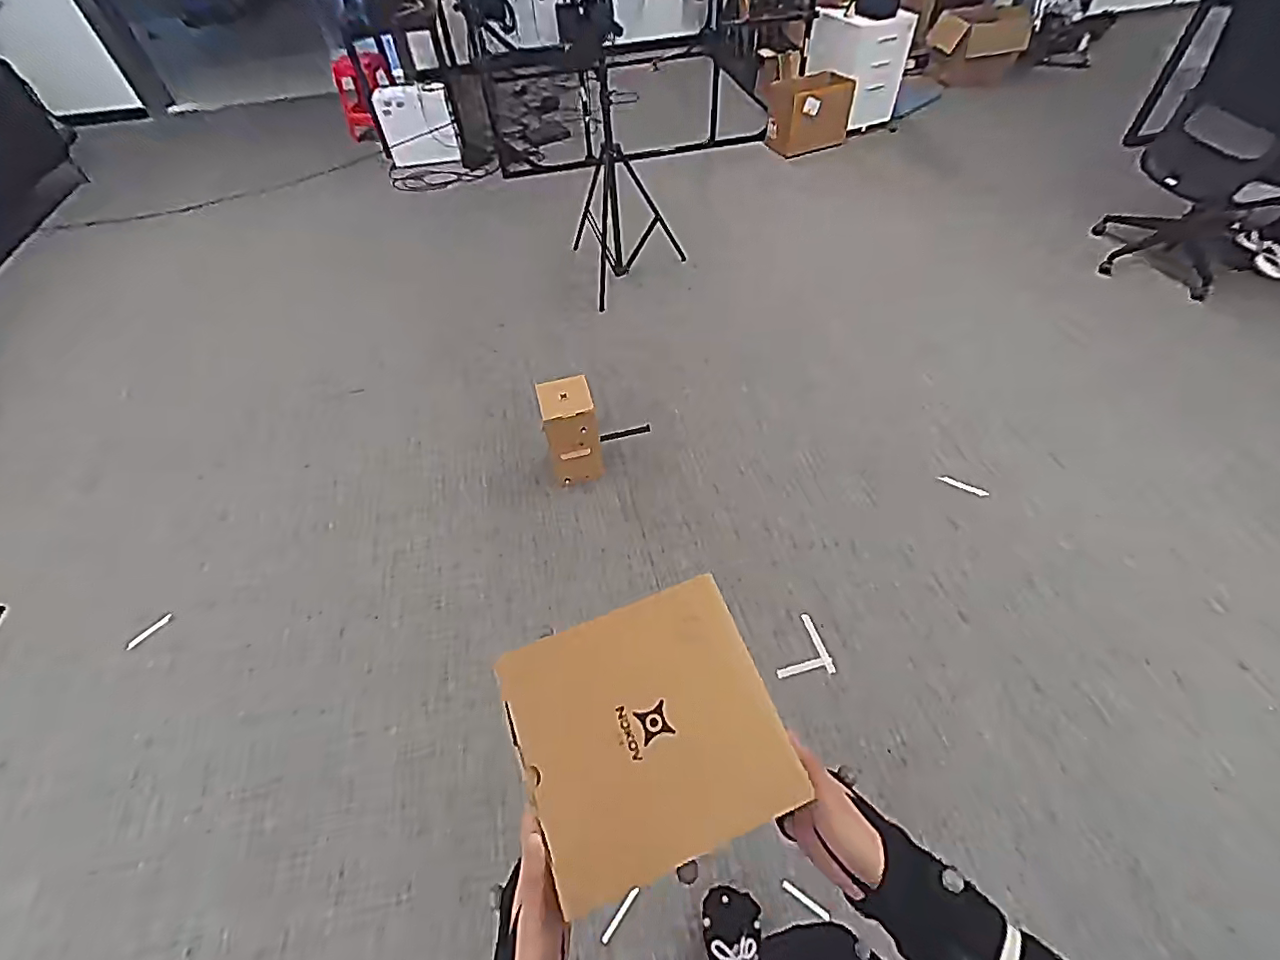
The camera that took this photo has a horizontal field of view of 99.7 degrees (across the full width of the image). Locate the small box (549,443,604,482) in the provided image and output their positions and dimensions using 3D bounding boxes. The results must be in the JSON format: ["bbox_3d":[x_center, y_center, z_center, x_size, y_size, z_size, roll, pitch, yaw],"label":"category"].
[{"bbox_3d":[-0.227,-0.110,1.902,0.168,0.176,0.179,-13,51,-7],"label":"small box"}]

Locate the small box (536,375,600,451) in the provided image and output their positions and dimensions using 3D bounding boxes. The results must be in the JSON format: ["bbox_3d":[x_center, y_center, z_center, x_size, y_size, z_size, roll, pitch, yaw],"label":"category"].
[{"bbox_3d":[-0.234,-0.212,1.776,0.168,0.176,0.179,-13,51,-8],"label":"small box"}]

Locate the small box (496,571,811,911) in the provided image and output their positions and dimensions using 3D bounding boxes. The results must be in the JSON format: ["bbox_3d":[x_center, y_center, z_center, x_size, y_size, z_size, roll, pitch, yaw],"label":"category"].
[{"bbox_3d":[0.003,0.198,0.444,0.179,0.176,0.168,-21,67,-10],"label":"small box"}]
